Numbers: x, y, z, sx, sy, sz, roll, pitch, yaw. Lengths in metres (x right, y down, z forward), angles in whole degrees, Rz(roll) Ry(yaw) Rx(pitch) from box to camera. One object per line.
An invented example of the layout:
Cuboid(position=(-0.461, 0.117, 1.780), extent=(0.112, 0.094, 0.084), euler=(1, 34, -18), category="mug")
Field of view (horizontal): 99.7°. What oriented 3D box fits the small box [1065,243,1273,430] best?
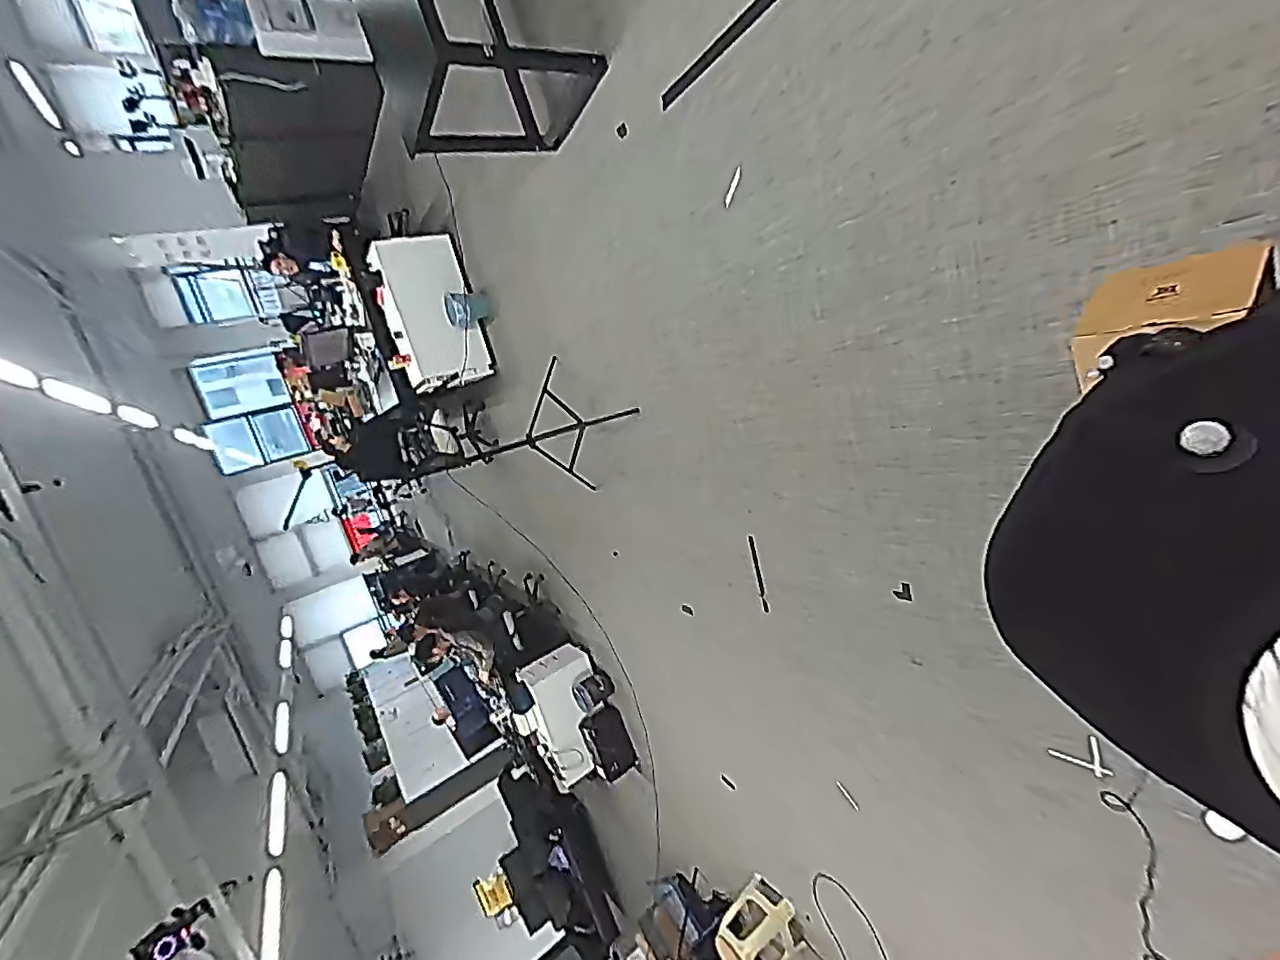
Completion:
Cuboid(position=(0.712, -0.178, 0.726), extent=(0.168, 0.179, 0.176), euler=(4, 132, 55), category="small box")
